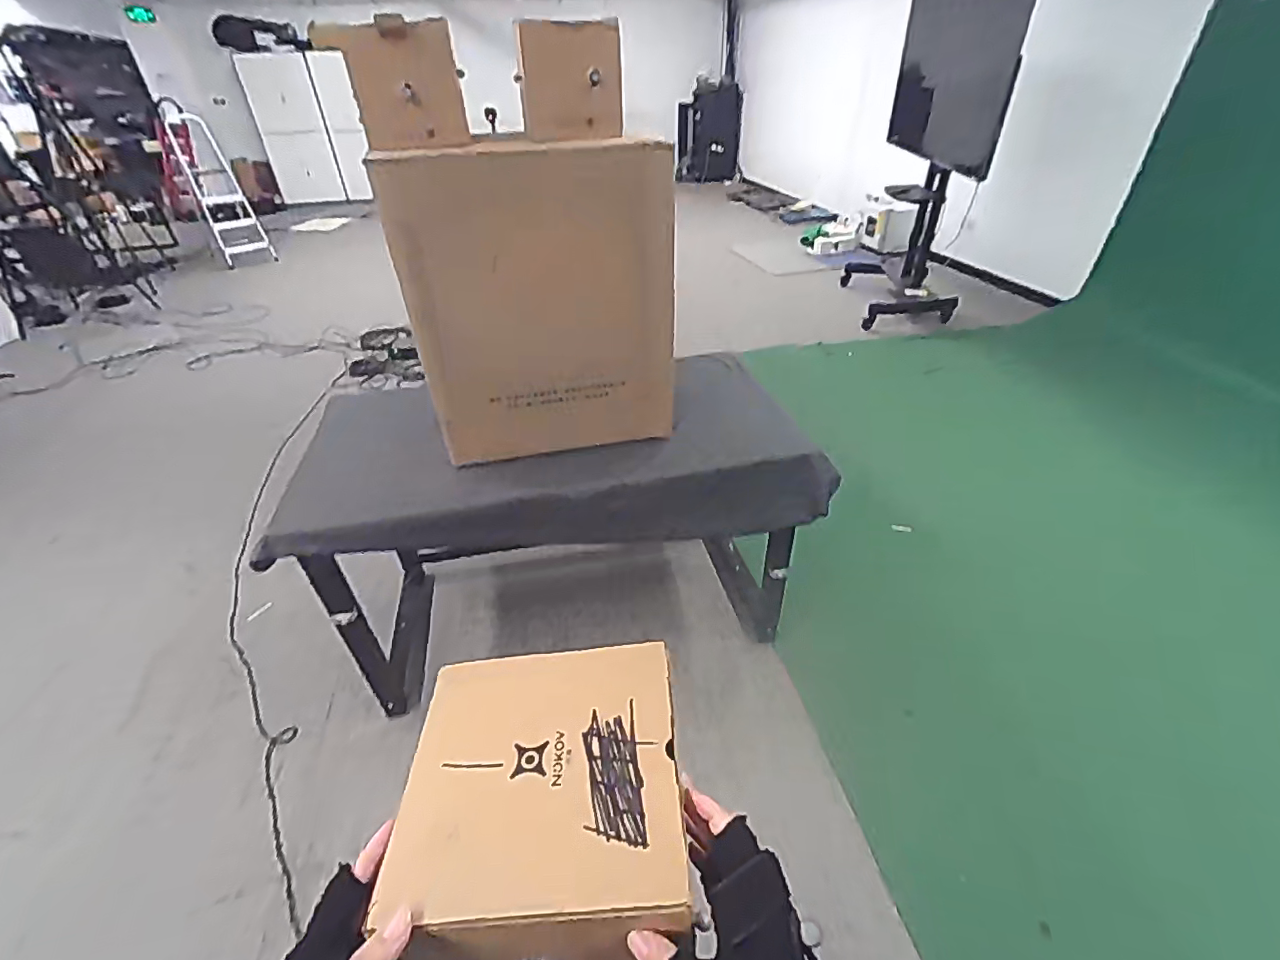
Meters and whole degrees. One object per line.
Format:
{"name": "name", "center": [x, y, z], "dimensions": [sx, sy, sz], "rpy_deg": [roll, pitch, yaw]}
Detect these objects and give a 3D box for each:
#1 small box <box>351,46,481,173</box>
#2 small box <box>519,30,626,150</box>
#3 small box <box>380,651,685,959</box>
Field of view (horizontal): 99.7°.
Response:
{"name": "small box", "center": [-0.386, -0.654, 0.958], "dimensions": [0.168, 0.176, 0.179], "rpy_deg": [-13, 39, -11]}
{"name": "small box", "center": [-0.123, -0.706, 0.986], "dimensions": [0.168, 0.176, 0.179], "rpy_deg": [-8, 37, -11]}
{"name": "small box", "center": [-0.058, 0.256, 0.416], "dimensions": [0.179, 0.176, 0.168], "rpy_deg": [-5, 35, 2]}
